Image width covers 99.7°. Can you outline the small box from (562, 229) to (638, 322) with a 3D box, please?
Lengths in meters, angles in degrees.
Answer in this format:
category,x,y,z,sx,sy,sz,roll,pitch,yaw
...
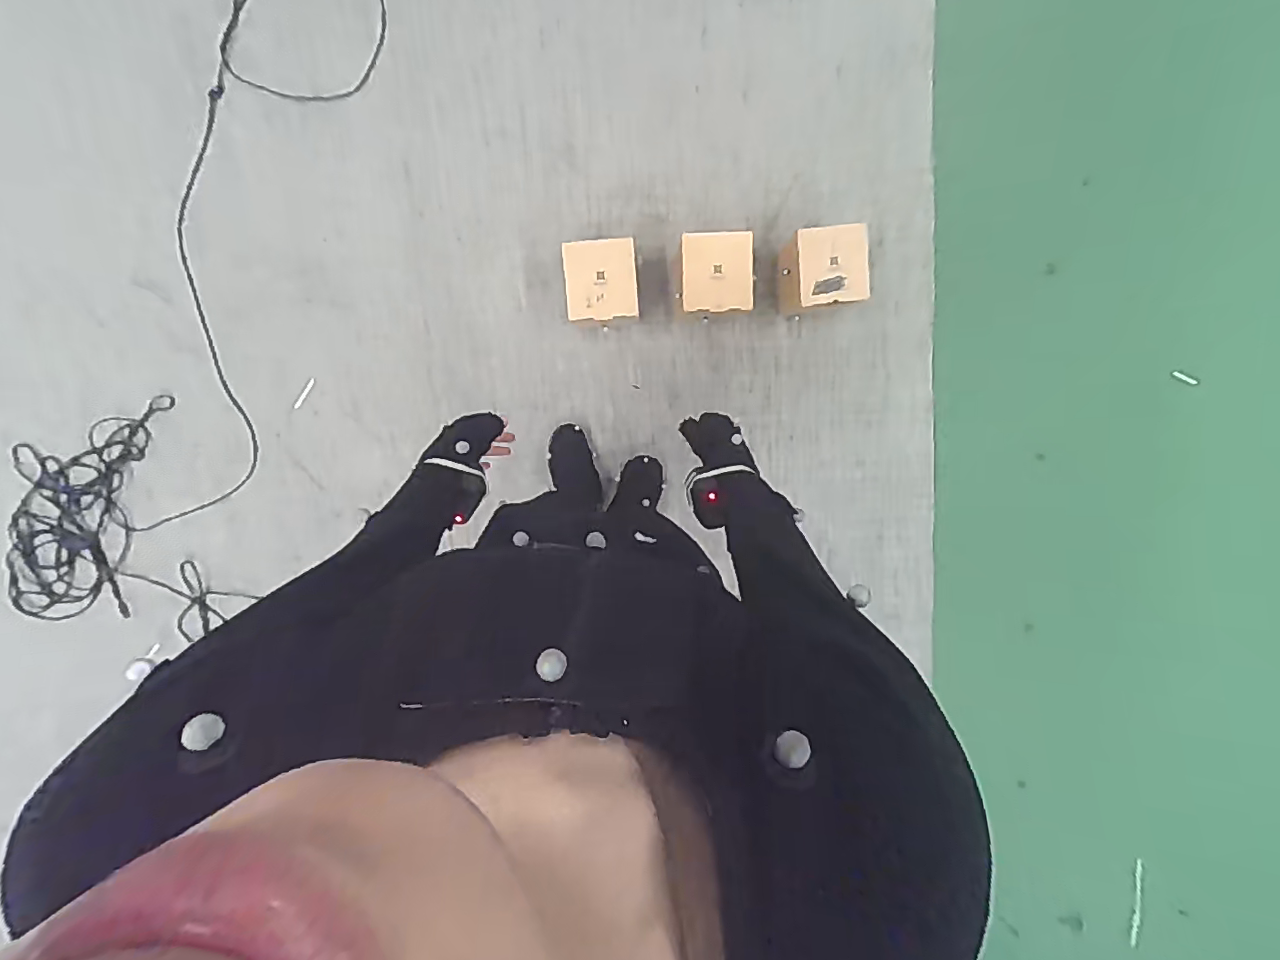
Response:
category,x,y,z,sx,sy,sz,roll,pitch,yaw
small box,-0.094,-0.488,1.308,0.168,0.176,0.179,-4,99,0

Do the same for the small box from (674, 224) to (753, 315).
category,x,y,z,sx,sy,sz,roll,pitch,yaw
small box,0.174,-0.506,1.316,0.168,0.176,0.179,-2,99,-2

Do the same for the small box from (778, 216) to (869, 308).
category,x,y,z,sx,sy,sz,roll,pitch,yaw
small box,0.442,-0.522,1.321,0.168,0.176,0.179,-5,98,-1
